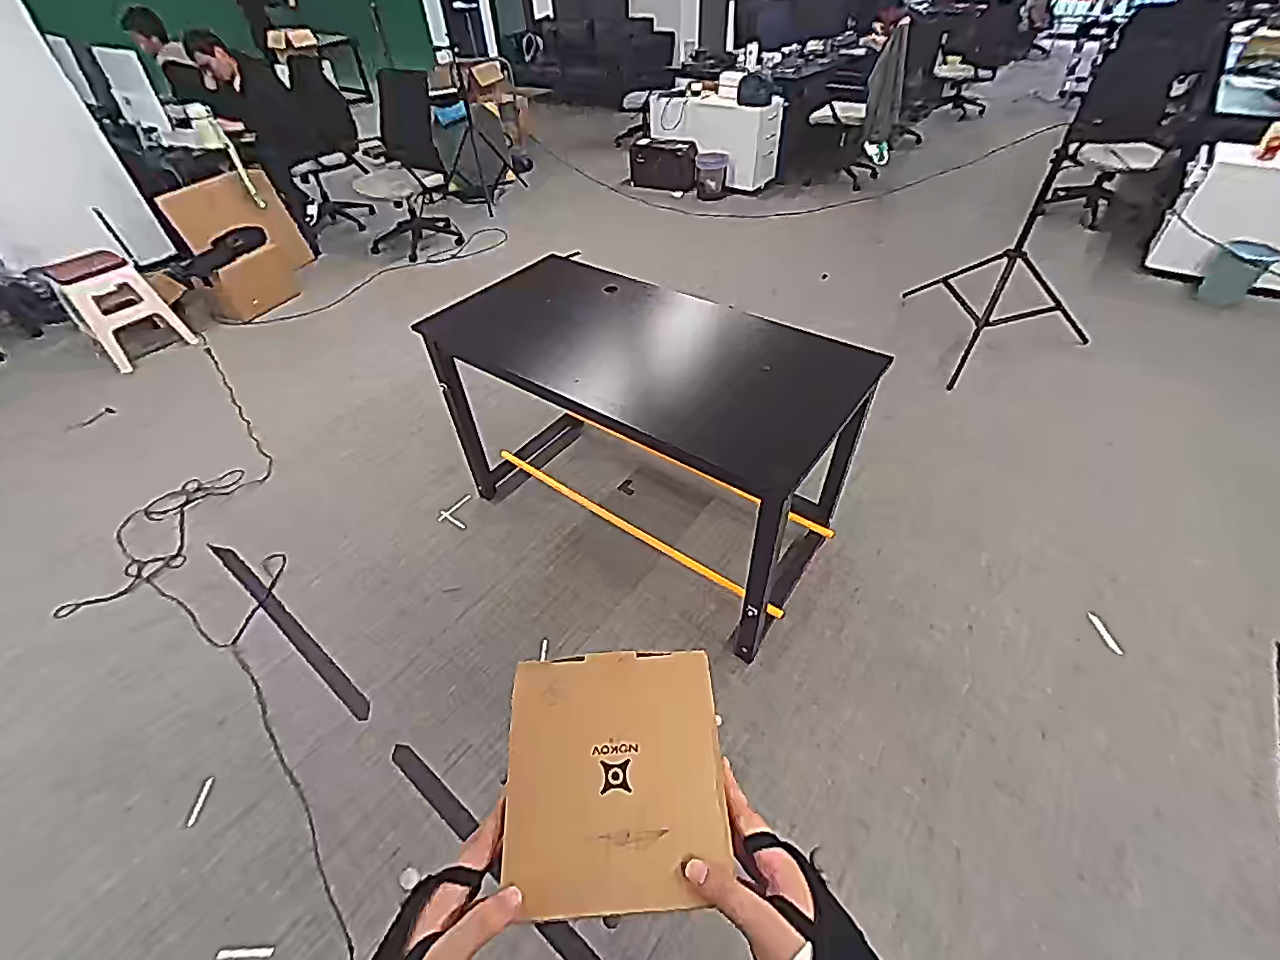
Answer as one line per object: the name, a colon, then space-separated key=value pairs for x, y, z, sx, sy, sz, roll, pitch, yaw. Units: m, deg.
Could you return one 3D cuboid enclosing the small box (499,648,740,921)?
small box: x=-0.018 y=0.262 z=0.473 sx=0.168 sy=0.176 sz=0.179 roll=-3 pitch=56 yaw=-2
